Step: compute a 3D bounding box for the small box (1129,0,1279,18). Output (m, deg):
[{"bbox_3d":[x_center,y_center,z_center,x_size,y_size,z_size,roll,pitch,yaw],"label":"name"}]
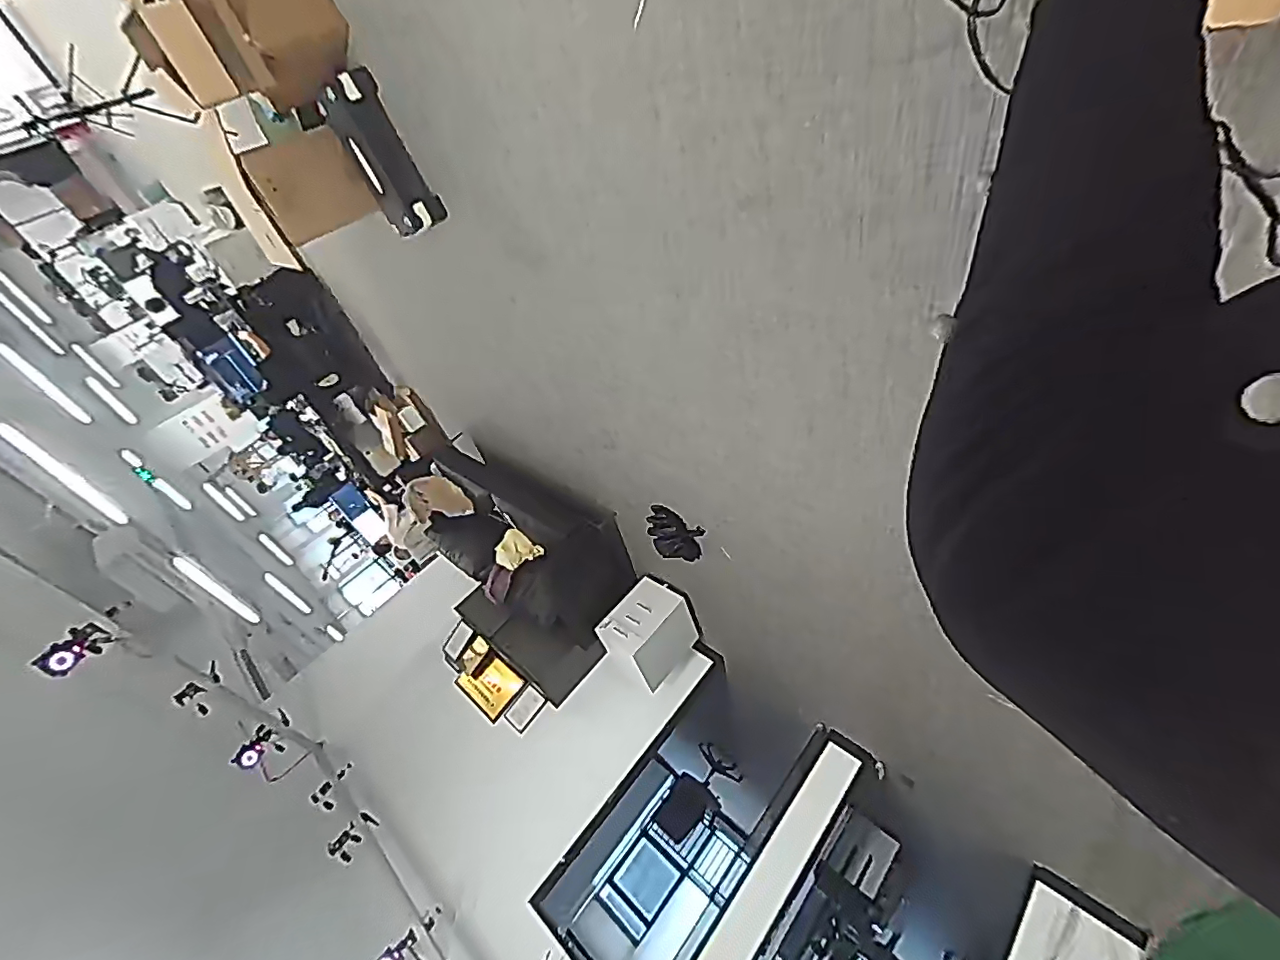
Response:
[{"bbox_3d":[0.815,-0.751,0.722,0.168,0.176,0.179,31,151,30],"label":"small box"}]
